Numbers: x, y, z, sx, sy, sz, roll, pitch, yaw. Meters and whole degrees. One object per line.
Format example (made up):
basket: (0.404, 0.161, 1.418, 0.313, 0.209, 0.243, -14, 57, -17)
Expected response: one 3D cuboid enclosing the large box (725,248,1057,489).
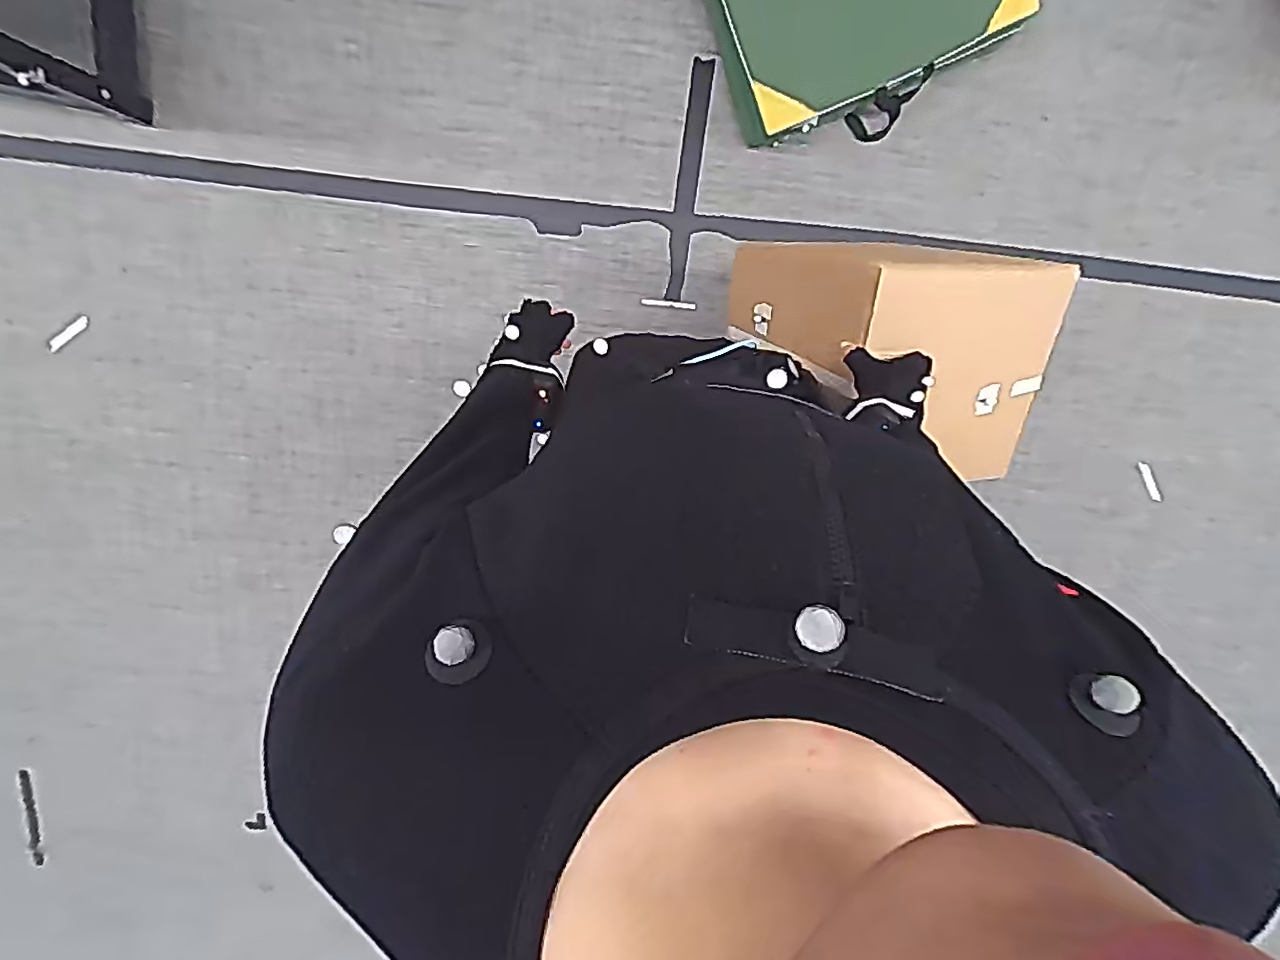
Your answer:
large box: (0.374, -0.217, 0.928, 0.320, 0.408, 0.320, -4, 118, -13)
